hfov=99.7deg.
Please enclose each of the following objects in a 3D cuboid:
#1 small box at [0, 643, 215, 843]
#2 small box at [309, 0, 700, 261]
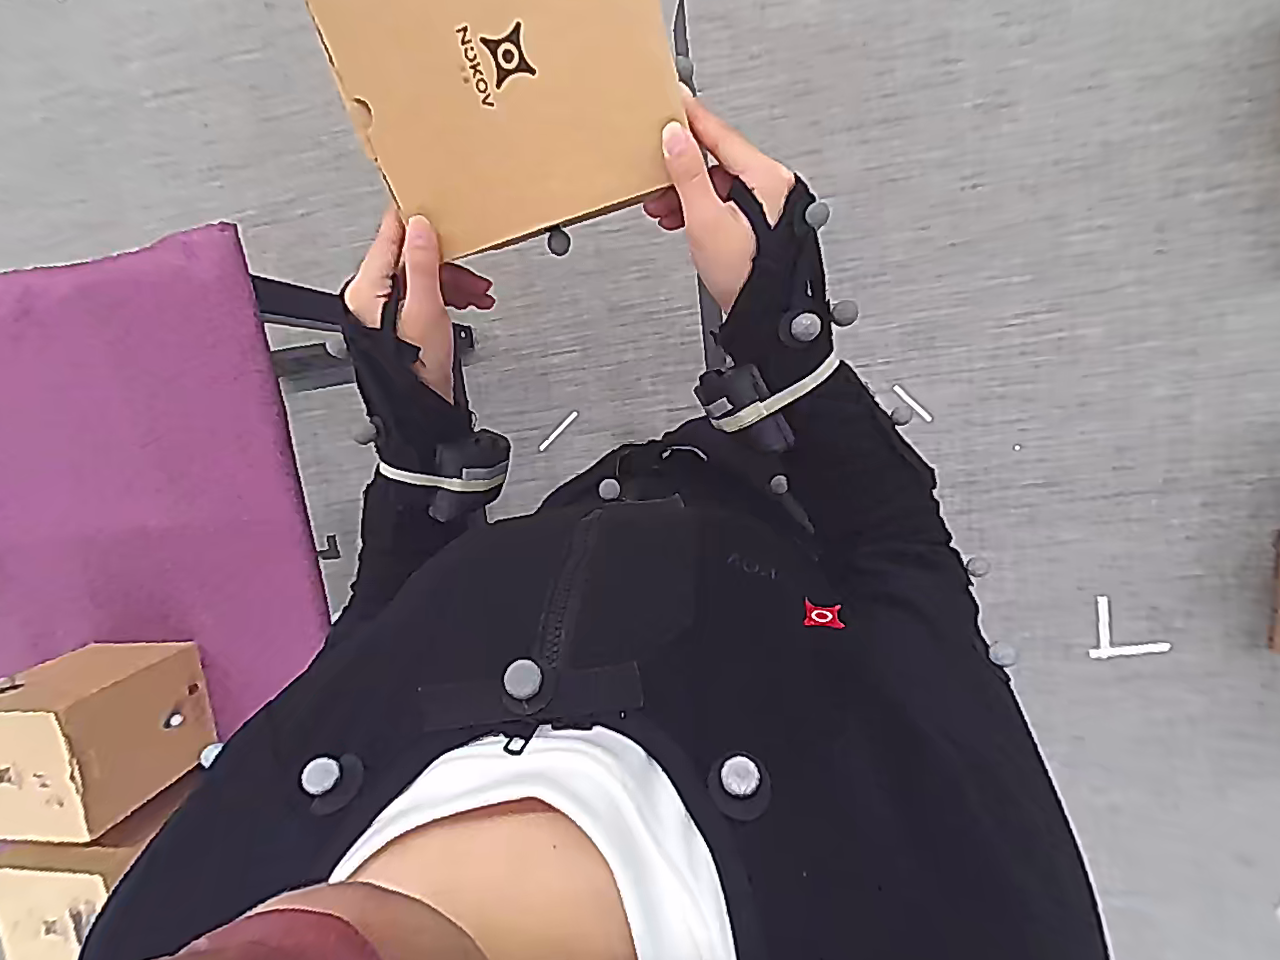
[{"bbox_3d":[-0.705,0.322,0.693,0.179,0.176,0.168,-3,100,8],"label":"small box"},{"bbox_3d":[-0.069,-0.259,0.351,0.179,0.176,0.168,-14,116,10],"label":"small box"}]
